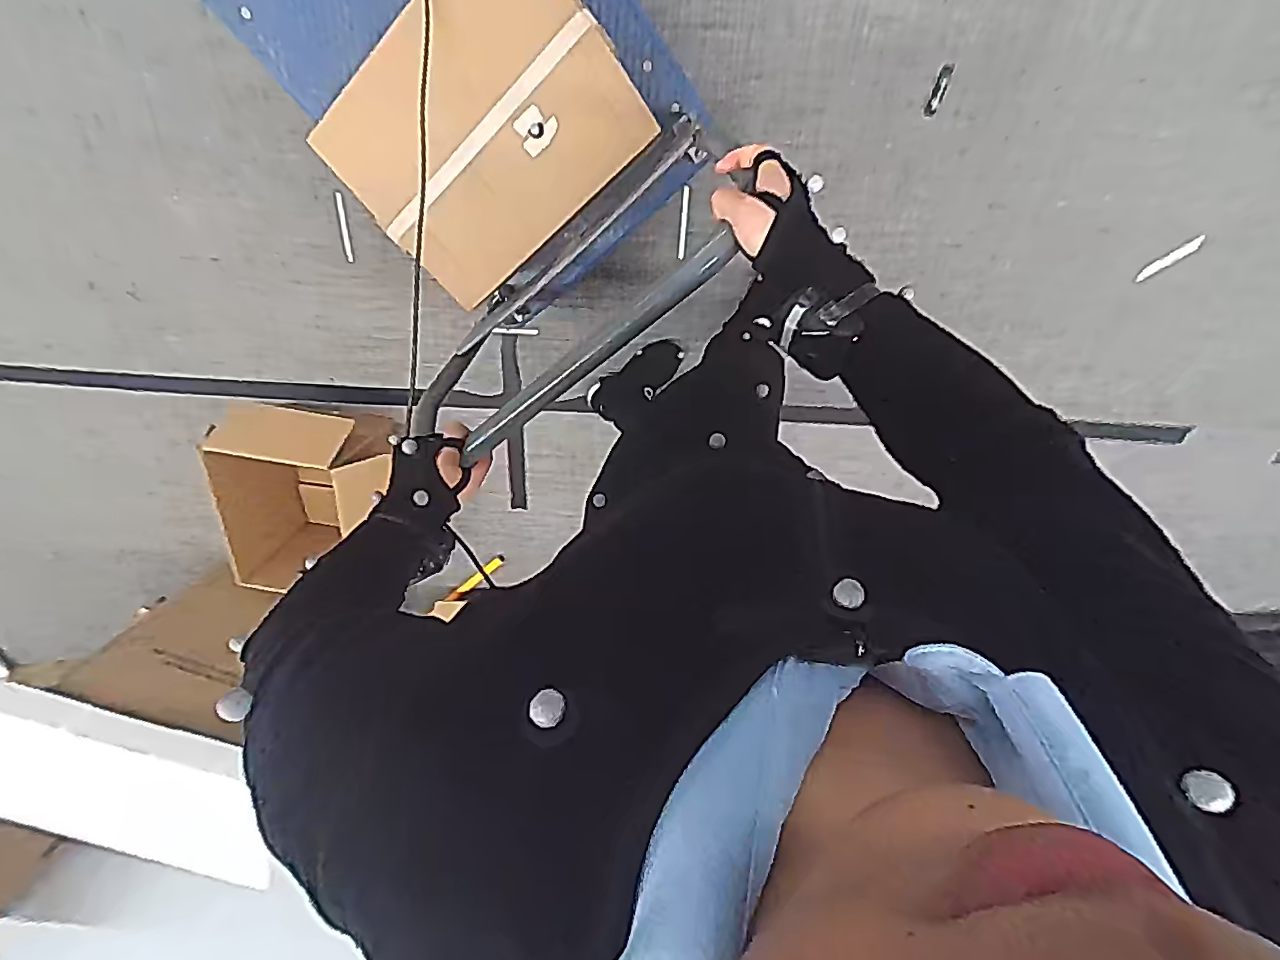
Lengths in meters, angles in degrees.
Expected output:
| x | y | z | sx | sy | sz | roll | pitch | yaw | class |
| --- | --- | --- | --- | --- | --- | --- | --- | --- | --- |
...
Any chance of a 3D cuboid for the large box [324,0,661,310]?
| x | y | z | sx | sy | sz | roll | pitch | yaw | class |
| --- | --- | --- | --- | --- | --- | --- | --- | --- | --- |
| -0.210 | -0.560 | 0.895 | 0.408 | 0.320 | 0.320 | -35 | 114 | 20 | large box |
